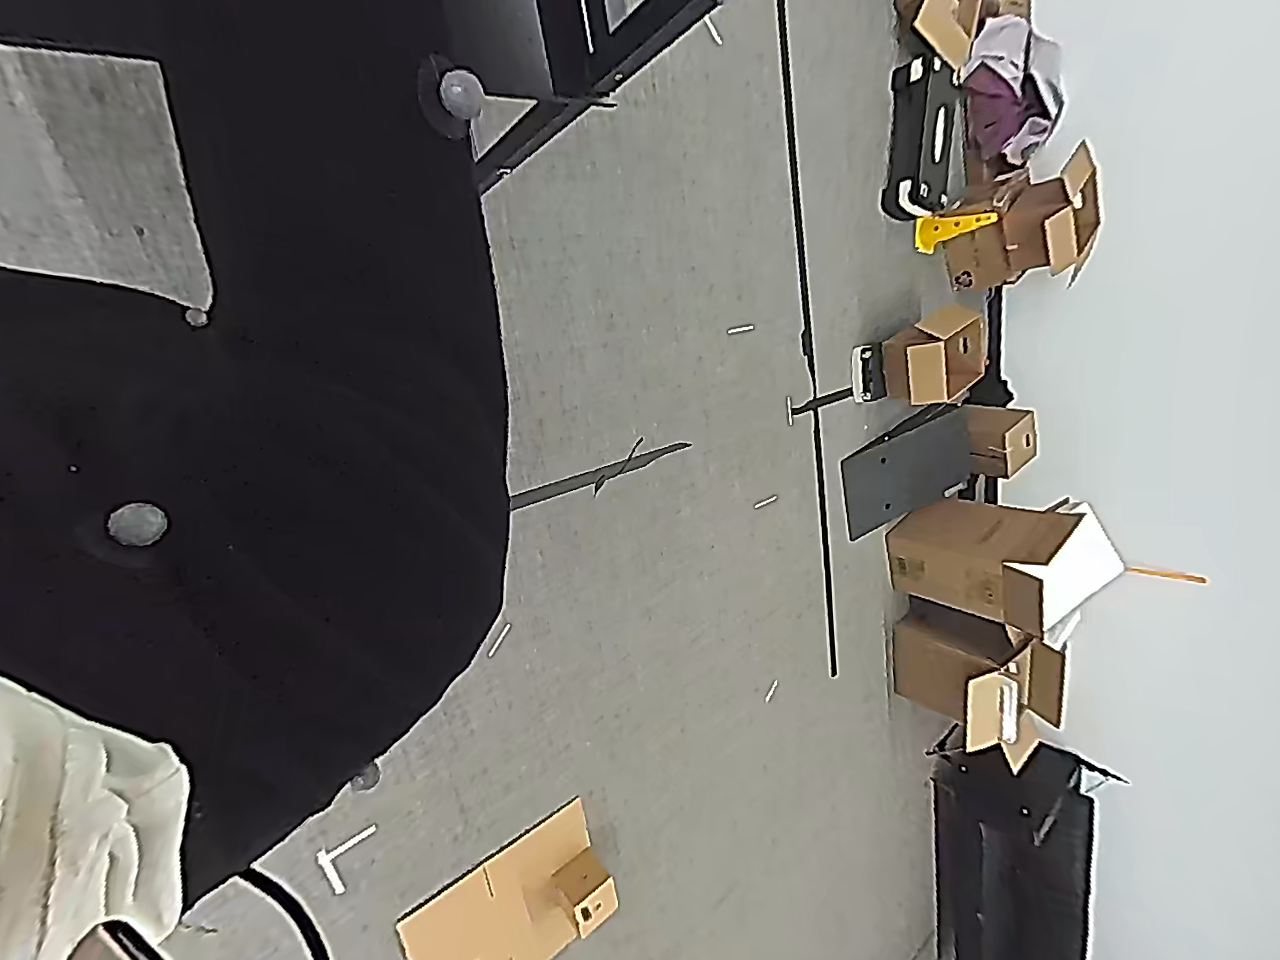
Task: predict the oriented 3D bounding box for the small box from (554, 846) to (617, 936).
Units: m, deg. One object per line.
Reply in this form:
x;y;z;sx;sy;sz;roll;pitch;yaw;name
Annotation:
-0.217;1.574;2.081;0.179;0.176;0.168;-20;110;-34;small box
